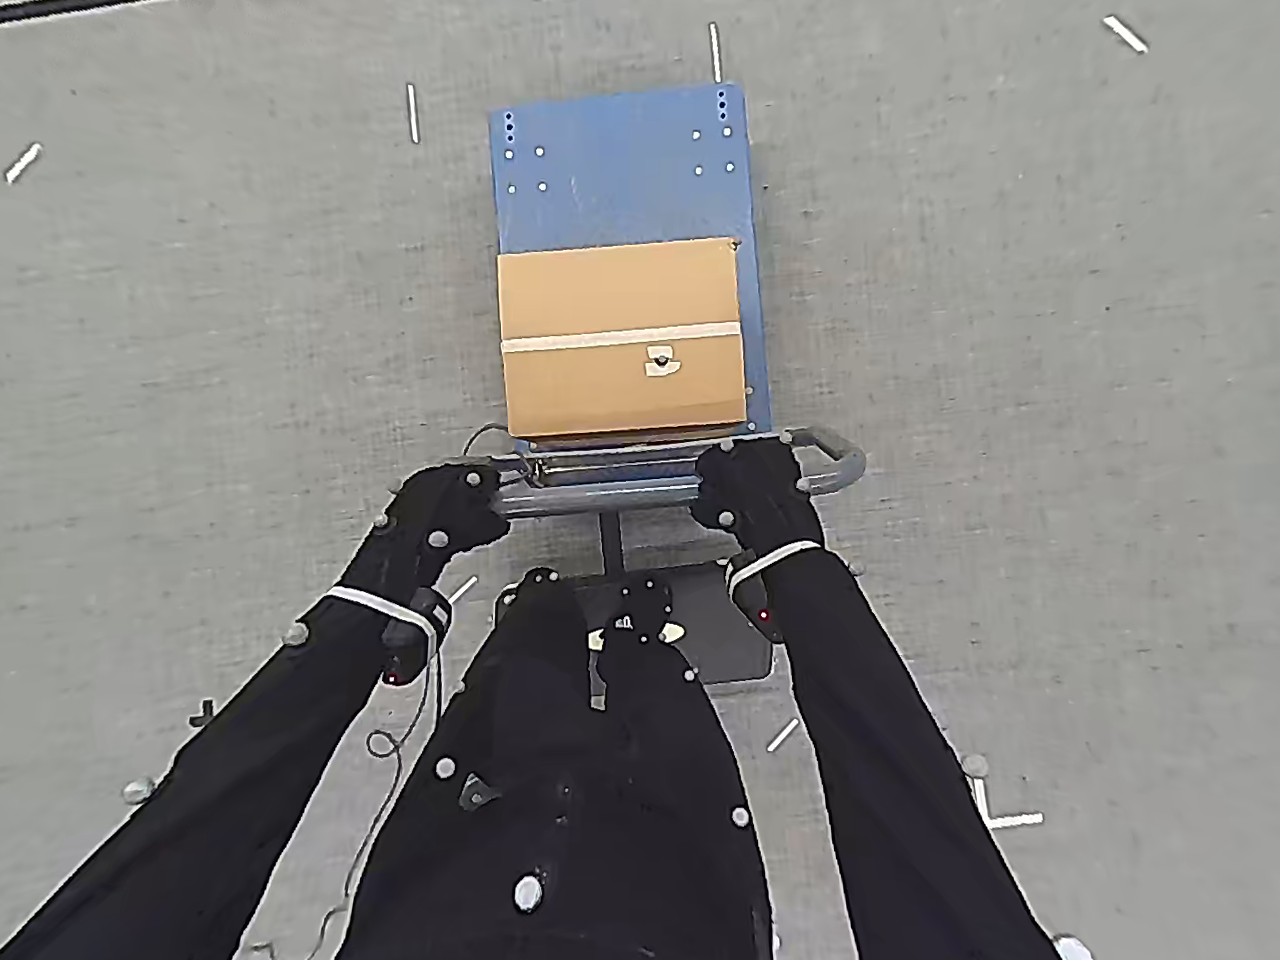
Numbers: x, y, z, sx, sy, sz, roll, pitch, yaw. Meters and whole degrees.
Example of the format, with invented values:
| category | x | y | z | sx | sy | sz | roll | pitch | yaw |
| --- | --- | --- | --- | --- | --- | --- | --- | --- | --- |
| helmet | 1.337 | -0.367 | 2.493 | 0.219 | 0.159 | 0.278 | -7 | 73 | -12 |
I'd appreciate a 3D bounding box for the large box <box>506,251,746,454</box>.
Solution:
| category | x | y | z | sx | sy | sz | roll | pitch | yaw |
| --- | --- | --- | --- | --- | --- | --- | --- | --- | --- |
| large box | -0.024 | -0.228 | 1.083 | 0.408 | 0.320 | 0.320 | -4 | 90 | 1 |
